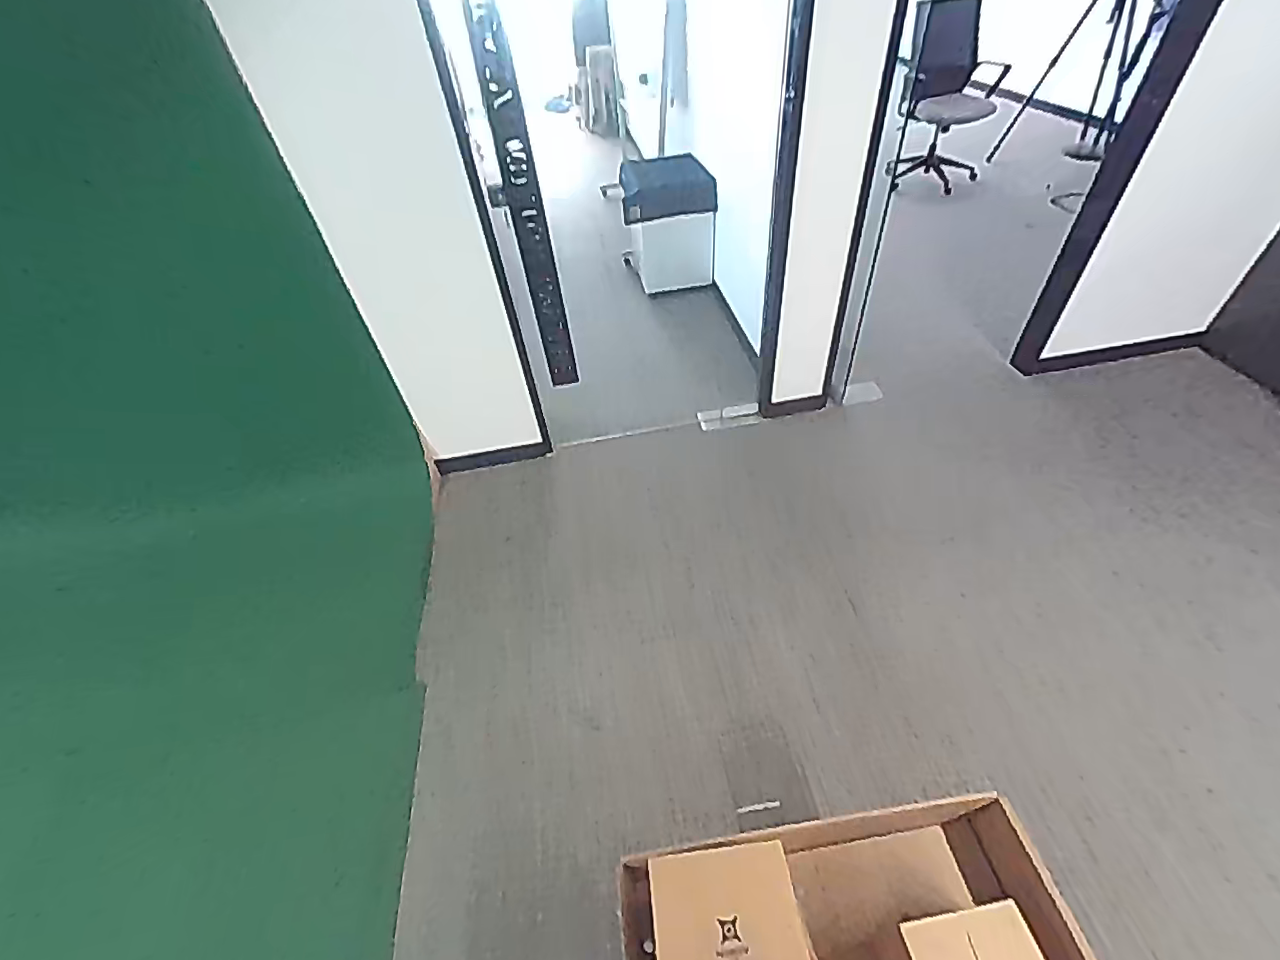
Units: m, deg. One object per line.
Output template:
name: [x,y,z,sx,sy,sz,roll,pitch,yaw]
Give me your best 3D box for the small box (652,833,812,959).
small box: [0.105,0.555,0.647,0.168,0.176,0.179,-7,42,0]
